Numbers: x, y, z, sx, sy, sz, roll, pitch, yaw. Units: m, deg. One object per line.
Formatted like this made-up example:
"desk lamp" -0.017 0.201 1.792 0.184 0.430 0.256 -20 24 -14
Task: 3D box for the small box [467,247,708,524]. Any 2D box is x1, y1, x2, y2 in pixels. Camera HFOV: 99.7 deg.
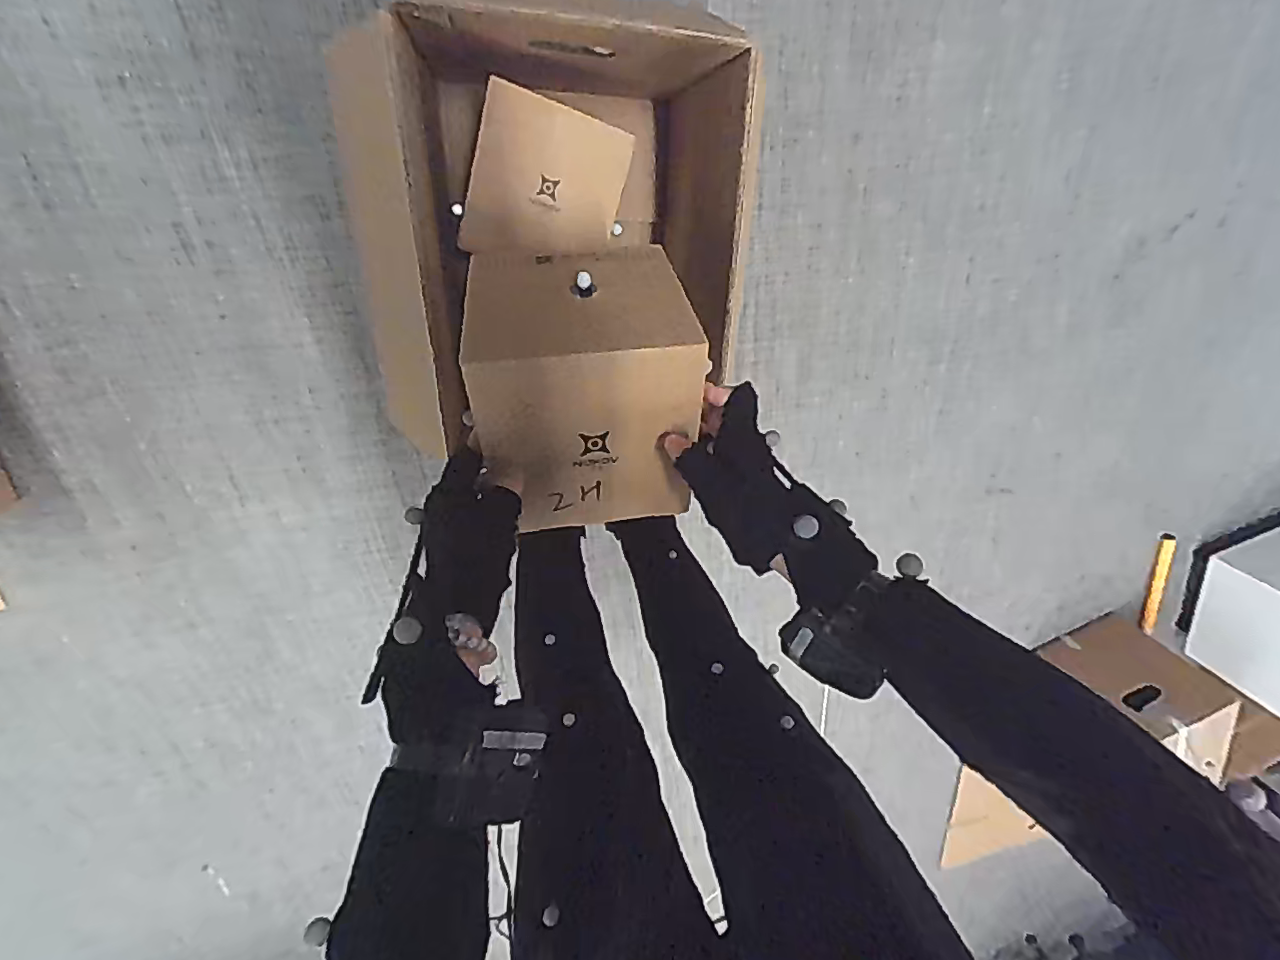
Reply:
"small box" -0.051 -0.088 0.468 0.168 0.176 0.179 -5 136 -9
